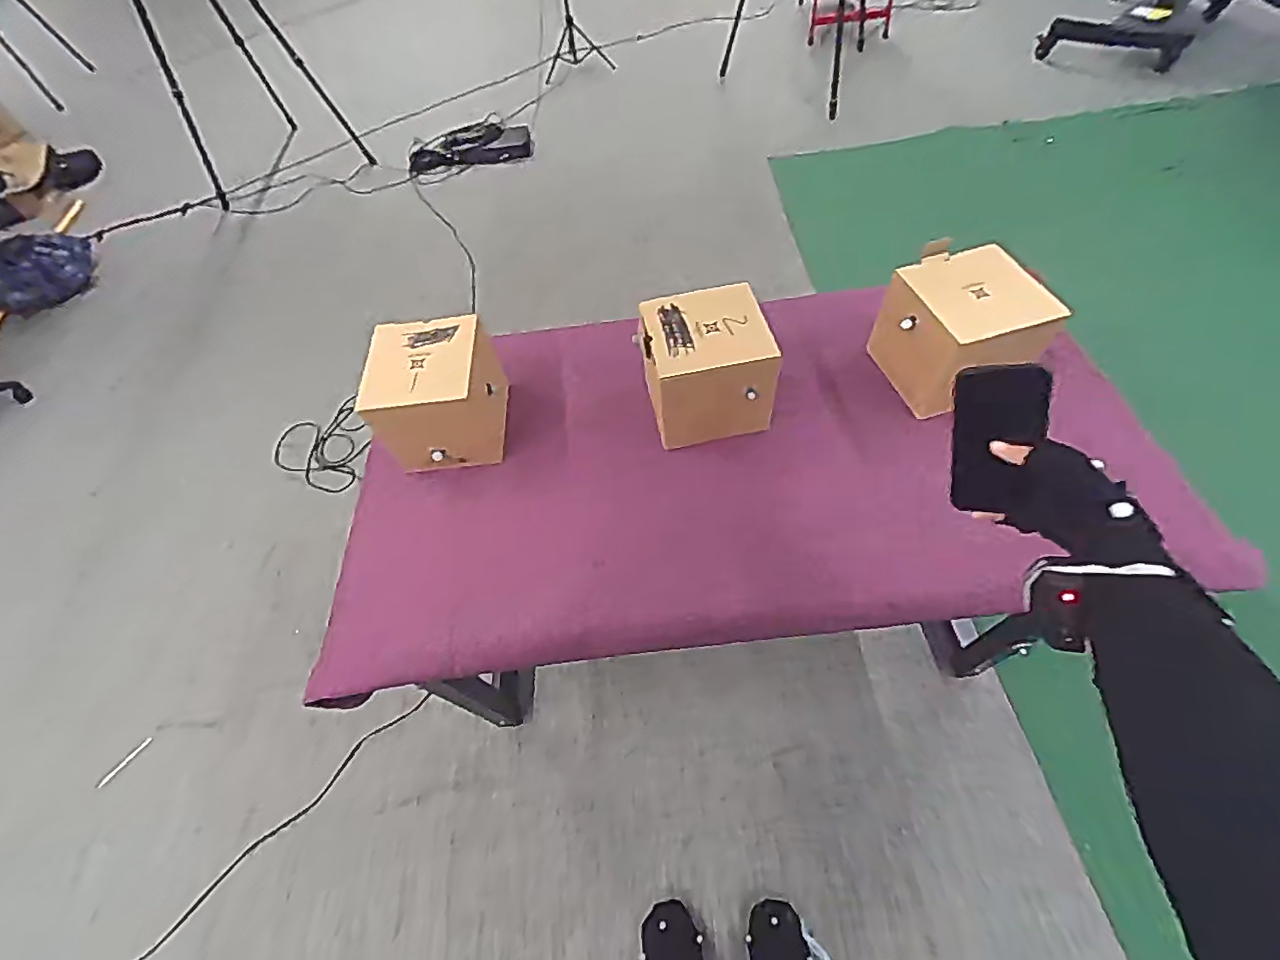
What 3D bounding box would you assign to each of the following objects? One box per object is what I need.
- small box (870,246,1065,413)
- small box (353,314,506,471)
[{"bbox_3d":[0.488,-0.223,0.840,0.168,0.176,0.179,-16,57,-4],"label":"small box"},{"bbox_3d":[-0.321,-0.136,0.866,0.168,0.176,0.179,-6,59,2],"label":"small box"}]
